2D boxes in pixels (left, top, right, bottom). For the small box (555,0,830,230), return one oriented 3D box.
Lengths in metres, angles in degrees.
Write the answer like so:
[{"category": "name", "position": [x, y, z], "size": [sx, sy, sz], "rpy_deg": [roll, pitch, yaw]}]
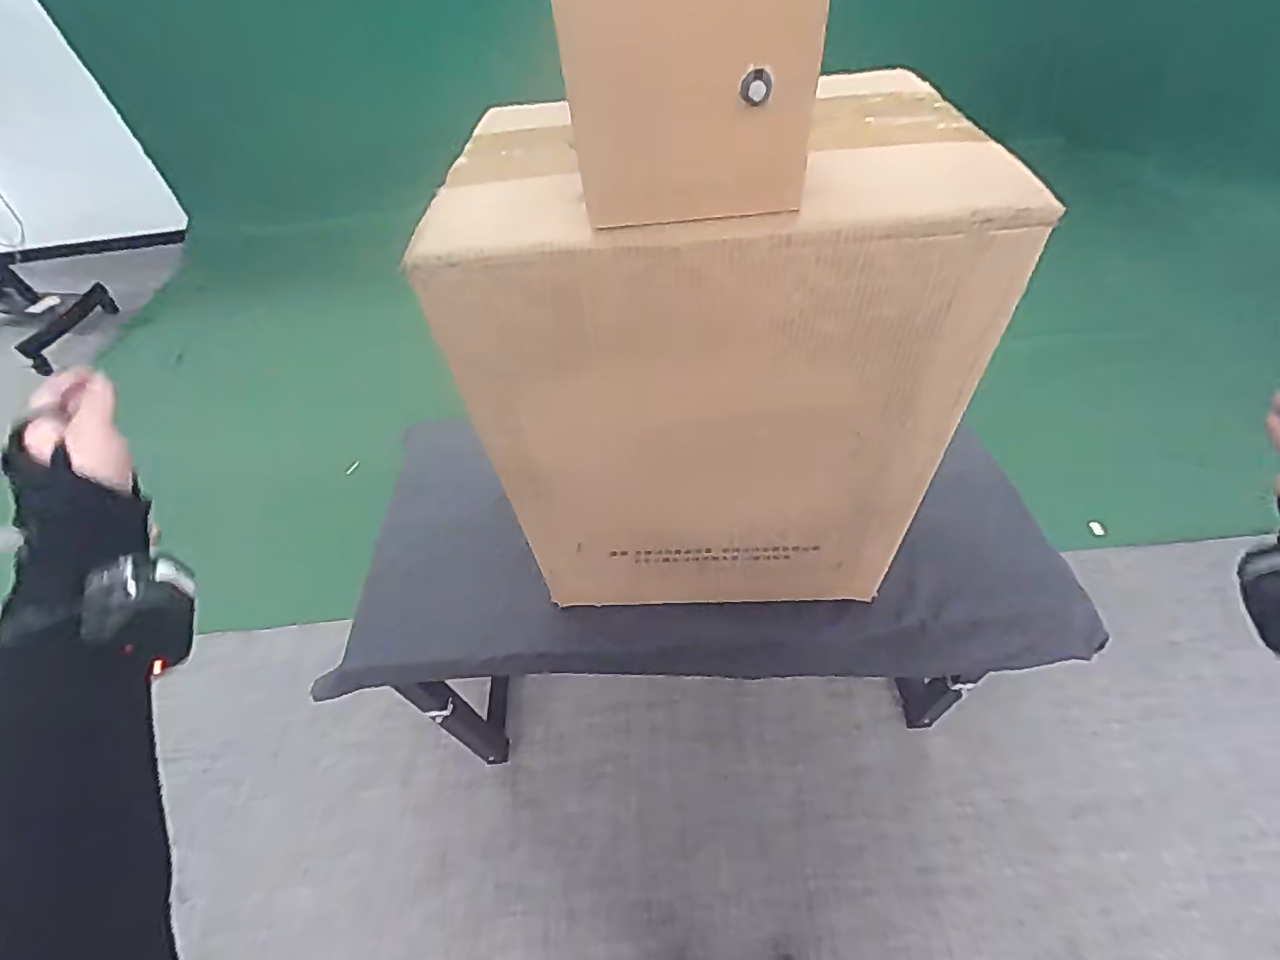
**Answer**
[{"category": "small box", "position": [0.040, -0.327, 0.437], "size": [0.179, 0.176, 0.168], "rpy_deg": [-4, 51, 5]}]
